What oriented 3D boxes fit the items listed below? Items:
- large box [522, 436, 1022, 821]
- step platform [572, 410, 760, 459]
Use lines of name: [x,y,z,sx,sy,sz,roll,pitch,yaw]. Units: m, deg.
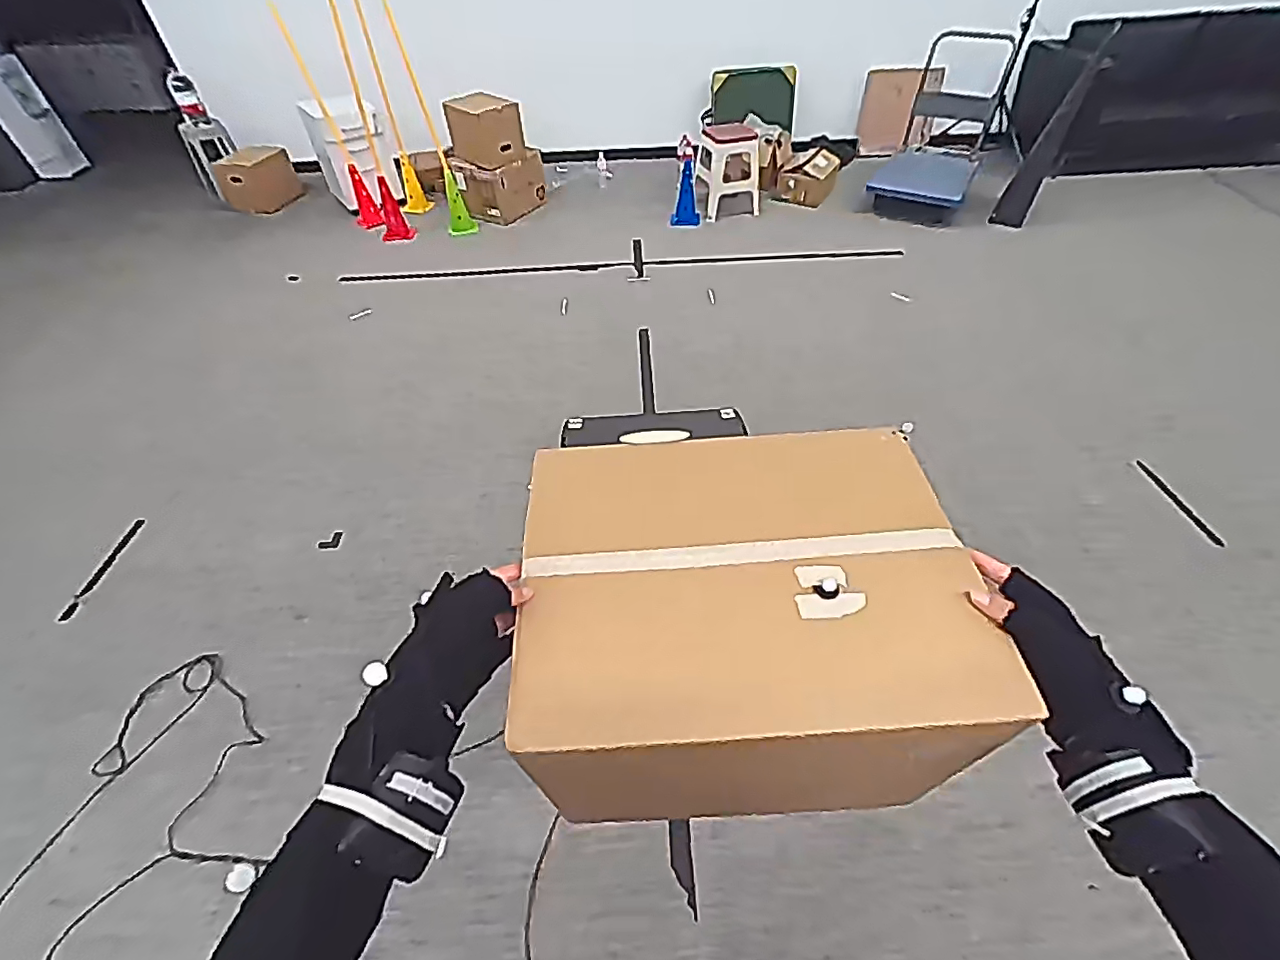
large box: [0.100,0.176,0.628,0.408,0.320,0.320,-4,49,0]
step platform: [0.094,-0.086,1.992,0.684,0.204,0.286,-4,47,-3]
